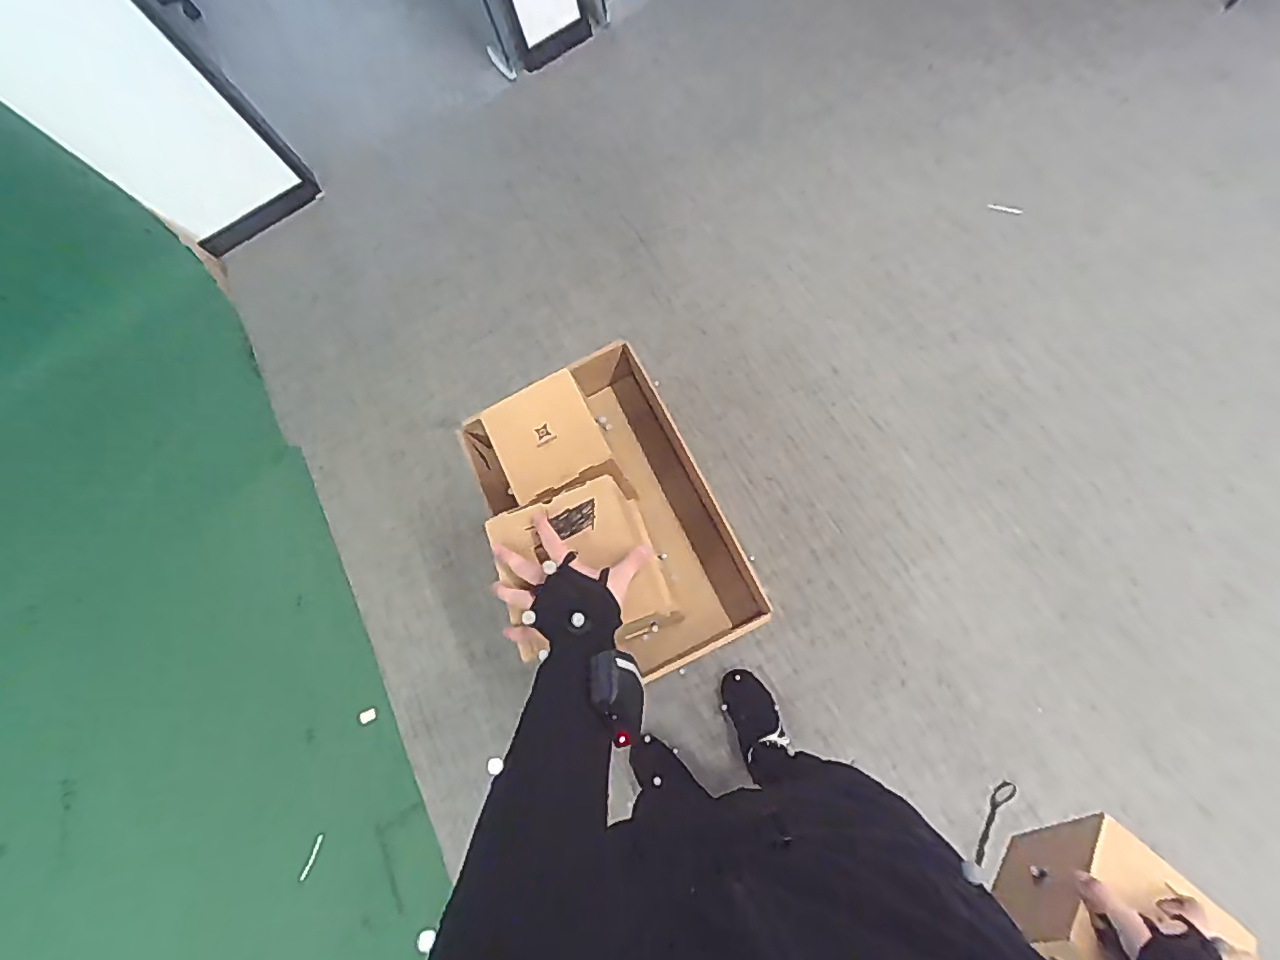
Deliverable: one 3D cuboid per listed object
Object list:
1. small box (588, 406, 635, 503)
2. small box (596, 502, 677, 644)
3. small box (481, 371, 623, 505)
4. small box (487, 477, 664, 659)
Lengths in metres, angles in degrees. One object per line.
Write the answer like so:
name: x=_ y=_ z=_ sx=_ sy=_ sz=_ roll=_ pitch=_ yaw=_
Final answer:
small box: x=-0.124 y=-0.015 z=1.096 sx=0.168 sy=0.176 sz=0.179 roll=-27 pitch=75 yaw=1
small box: x=-0.046 y=0.158 z=0.866 sx=0.168 sy=0.176 sz=0.179 roll=-21 pitch=72 yaw=2
small box: x=-0.145 y=-0.052 z=0.939 sx=0.168 sy=0.176 sz=0.179 roll=-27 pitch=75 yaw=0
small box: x=-0.076 y=0.121 z=0.710 sx=0.168 sy=0.176 sz=0.179 roll=-21 pitch=73 yaw=2
